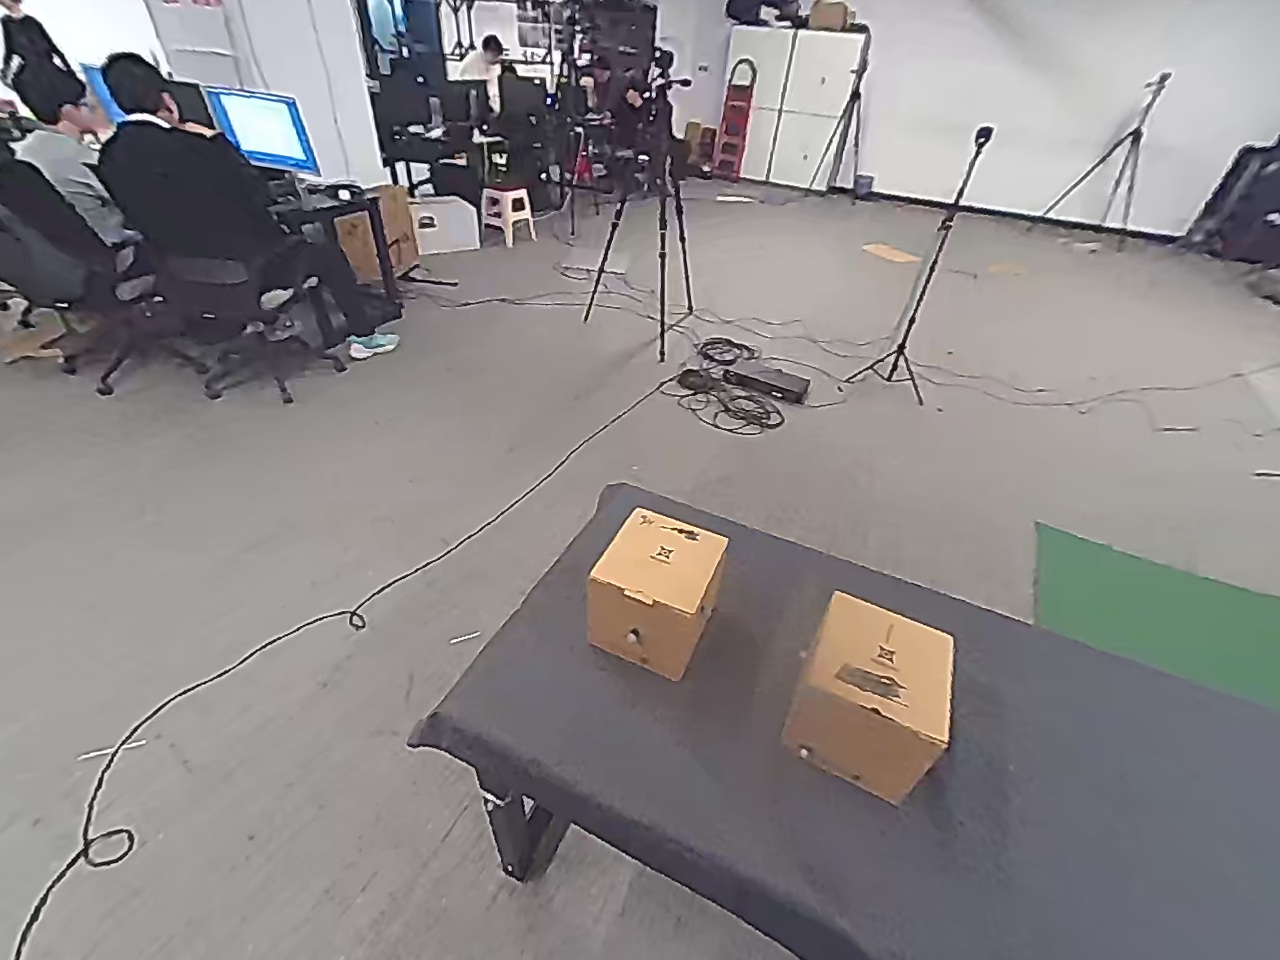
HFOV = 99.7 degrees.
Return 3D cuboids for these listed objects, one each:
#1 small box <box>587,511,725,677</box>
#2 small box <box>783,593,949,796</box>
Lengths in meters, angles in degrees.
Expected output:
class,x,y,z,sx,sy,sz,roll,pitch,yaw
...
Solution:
class,x,y,z,sx,sy,sz,roll,pitch,yaw
small box,0.027,0.187,0.886,0.168,0.176,0.179,18,41,17
small box,0.314,0.301,0.765,0.168,0.176,0.179,20,39,20
